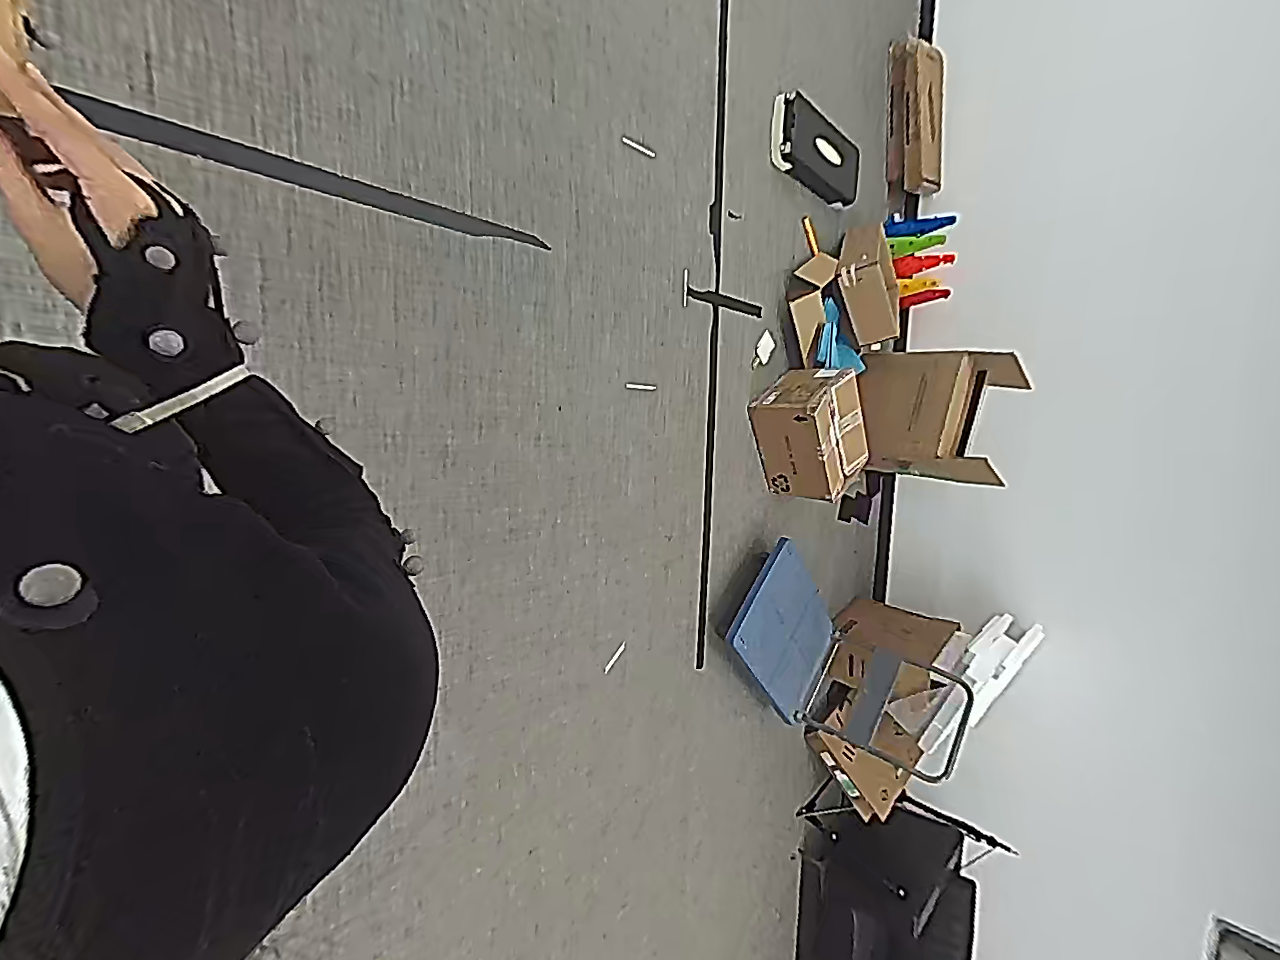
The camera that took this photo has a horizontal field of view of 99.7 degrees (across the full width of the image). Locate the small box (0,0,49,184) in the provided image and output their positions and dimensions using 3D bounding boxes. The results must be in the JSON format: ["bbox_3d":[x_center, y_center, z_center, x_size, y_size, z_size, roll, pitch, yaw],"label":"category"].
[{"bbox_3d":[-0.426,-0.268,0.266,0.179,0.176,0.168,-5,102,-44],"label":"small box"}]
